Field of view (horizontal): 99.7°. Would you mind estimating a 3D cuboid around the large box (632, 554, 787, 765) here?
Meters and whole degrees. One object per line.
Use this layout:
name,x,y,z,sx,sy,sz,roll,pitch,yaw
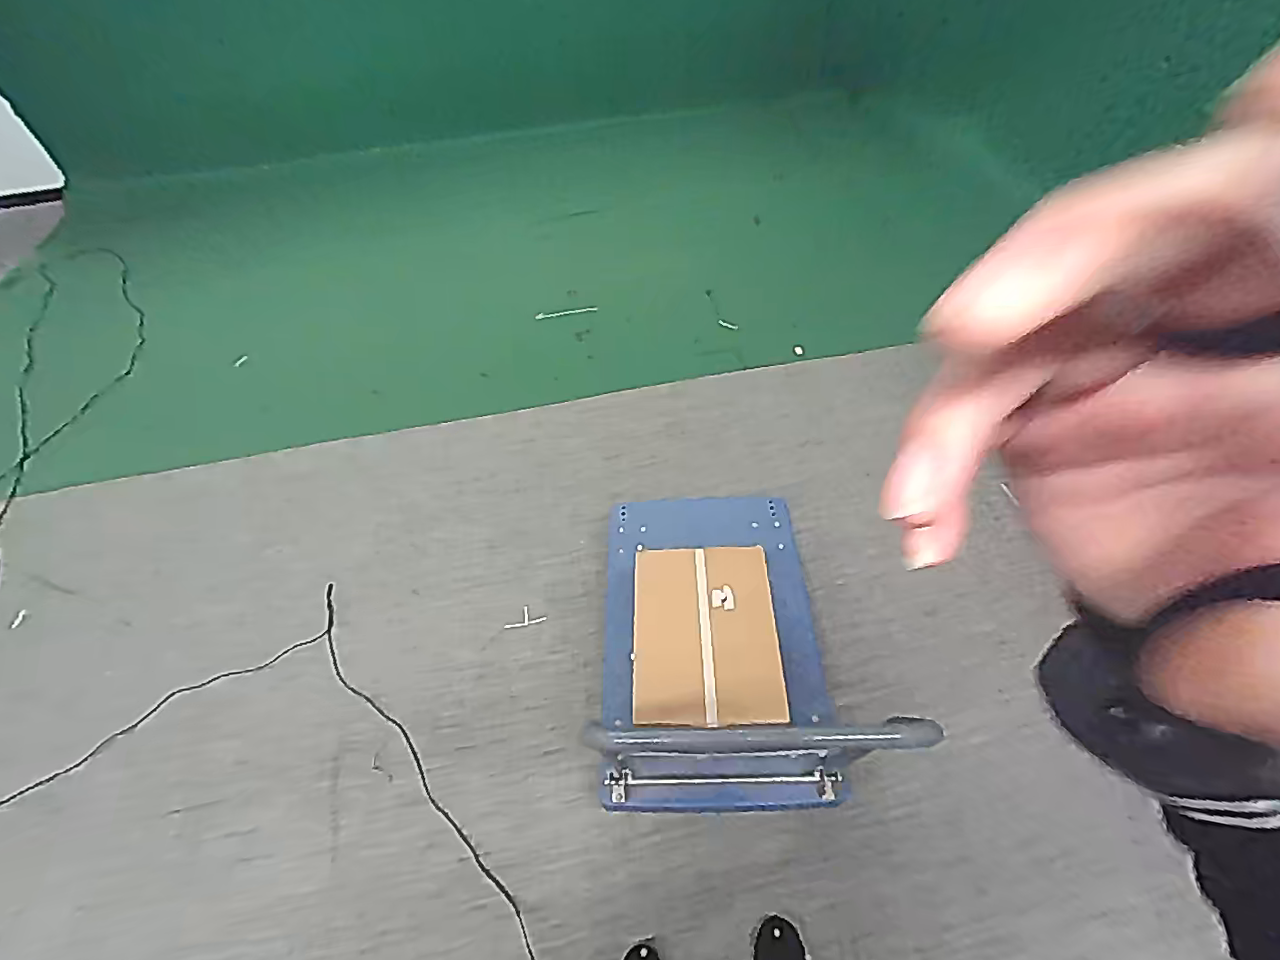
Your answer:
large box,0.150,0.438,1.318,0.320,0.320,0.408,-2,49,3
